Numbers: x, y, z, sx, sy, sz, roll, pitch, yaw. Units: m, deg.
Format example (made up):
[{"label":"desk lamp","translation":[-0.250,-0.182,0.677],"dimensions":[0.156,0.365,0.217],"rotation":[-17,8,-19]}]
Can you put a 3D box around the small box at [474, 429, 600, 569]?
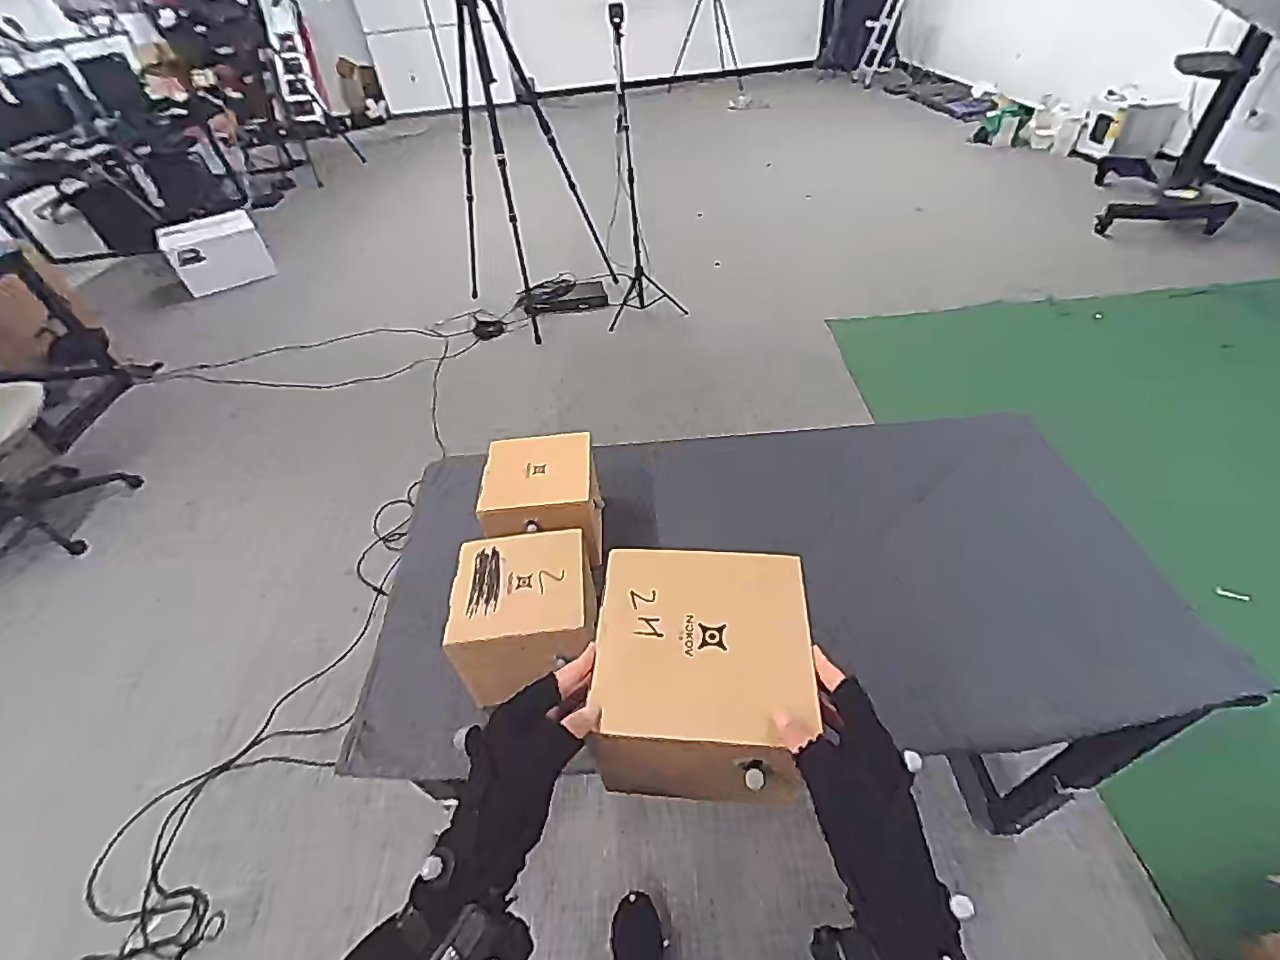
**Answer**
[{"label":"small box","translation":[-0.163,0.035,0.926],"dimensions":[0.179,0.176,0.168],"rotation":[-7,45,1]}]

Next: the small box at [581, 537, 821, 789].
[{"label":"small box","translation":[0.055,0.171,0.500],"dimensions":[0.179,0.176,0.168],"rotation":[1,47,7]}]
